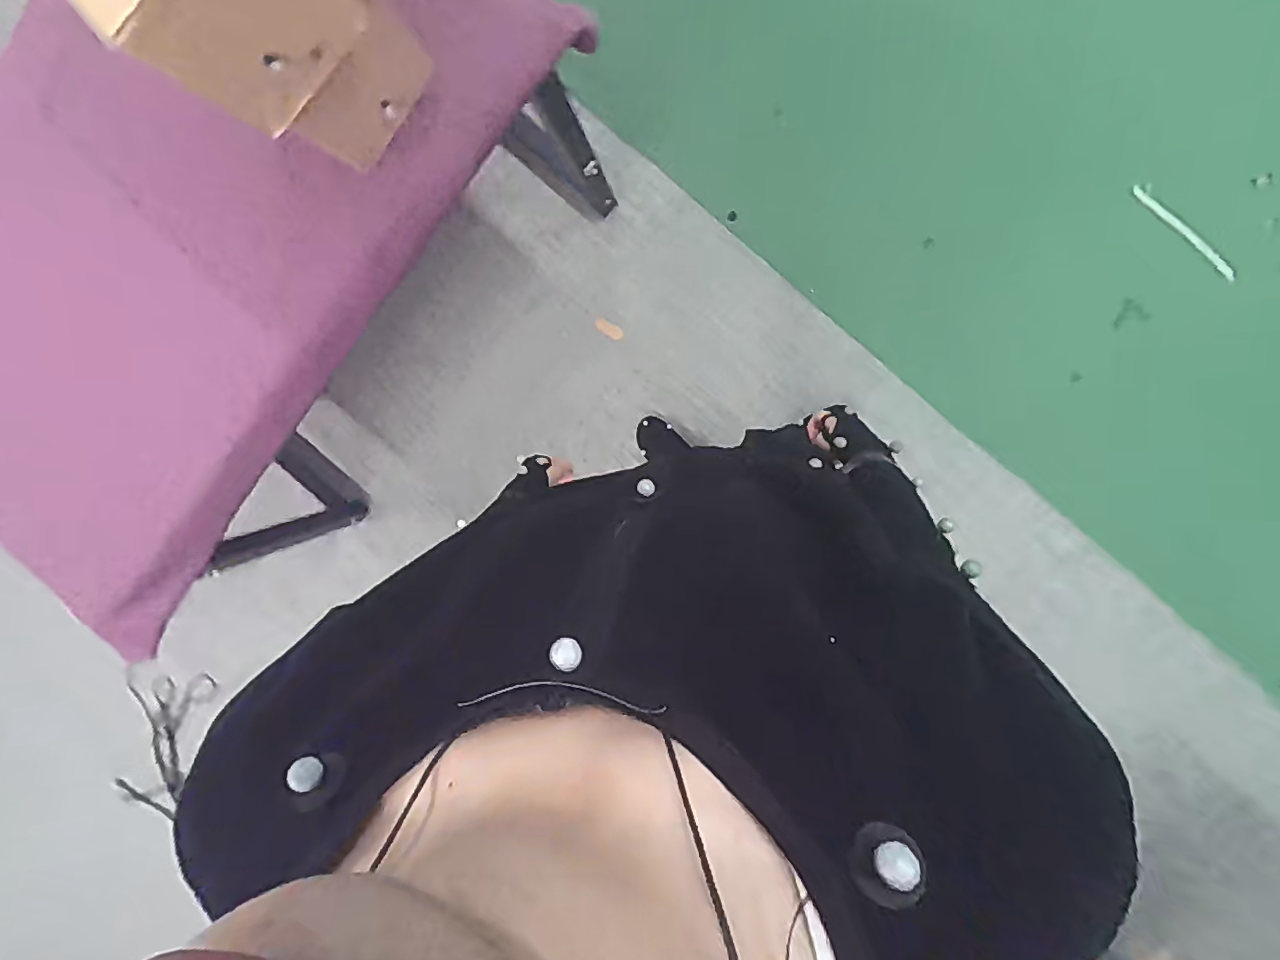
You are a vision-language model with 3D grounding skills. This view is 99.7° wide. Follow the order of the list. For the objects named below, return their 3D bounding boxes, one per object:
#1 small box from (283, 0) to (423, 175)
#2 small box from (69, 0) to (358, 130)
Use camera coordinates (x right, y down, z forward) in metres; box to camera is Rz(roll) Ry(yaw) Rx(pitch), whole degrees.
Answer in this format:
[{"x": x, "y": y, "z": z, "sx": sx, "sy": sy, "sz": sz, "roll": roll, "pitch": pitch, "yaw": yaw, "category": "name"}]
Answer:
[{"x": -0.398, "y": -0.523, "z": 0.658, "sx": 0.168, "sy": 0.176, "sz": 0.179, "roll": 41, "pitch": 101, "yaw": 2, "category": "small box"}, {"x": -0.415, "y": -0.479, "z": 0.500, "sx": 0.168, "sy": 0.176, "sz": 0.179, "roll": -41, "pitch": 91, "yaw": 11, "category": "small box"}]
